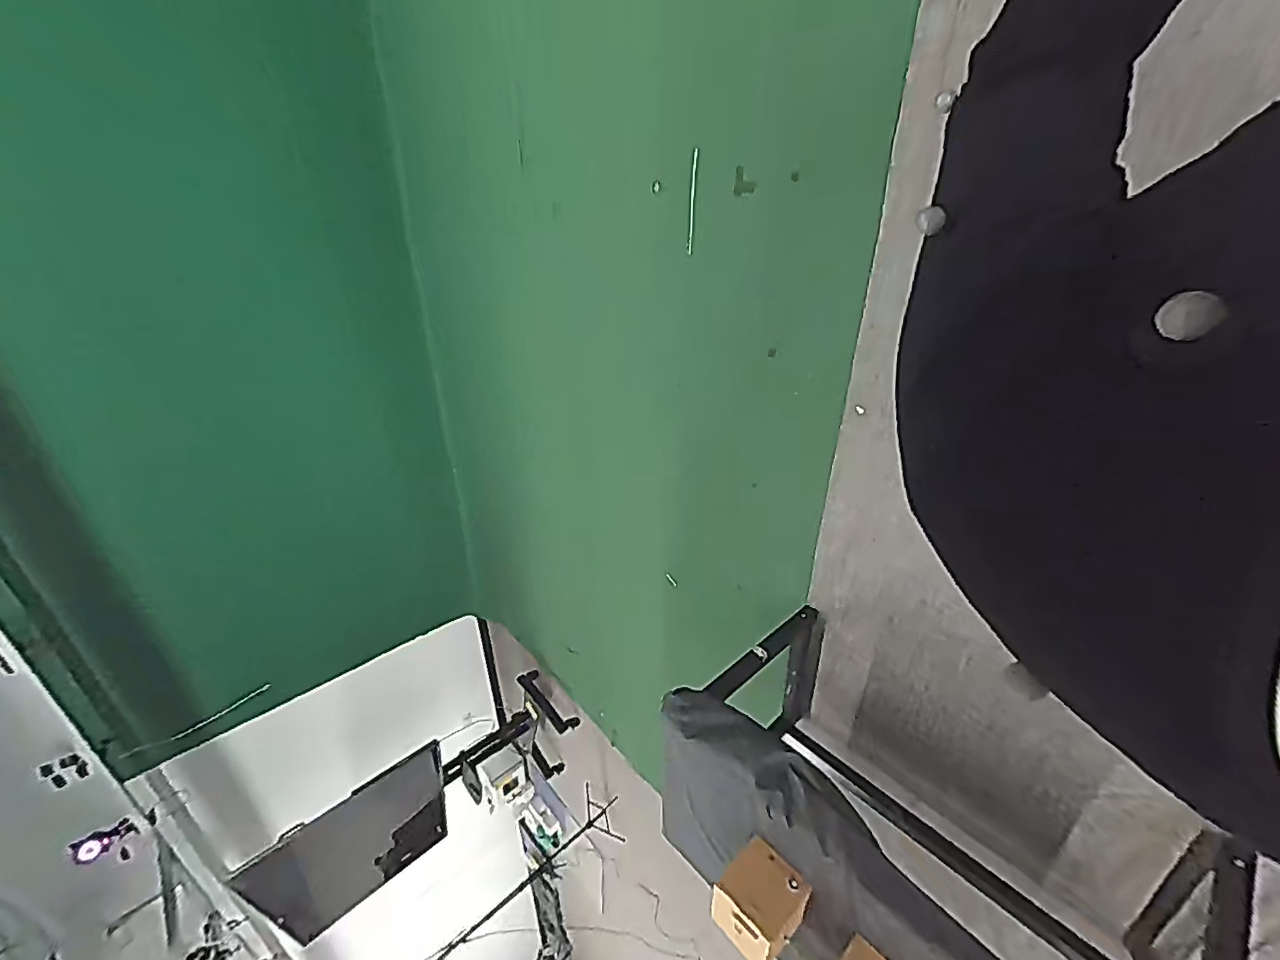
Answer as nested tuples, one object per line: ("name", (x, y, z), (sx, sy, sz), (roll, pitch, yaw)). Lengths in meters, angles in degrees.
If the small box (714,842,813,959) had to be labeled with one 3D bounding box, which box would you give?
("small box", (0.304, 1.048, 1.329), (0.168, 0.176, 0.179), (28, 130, 41))
